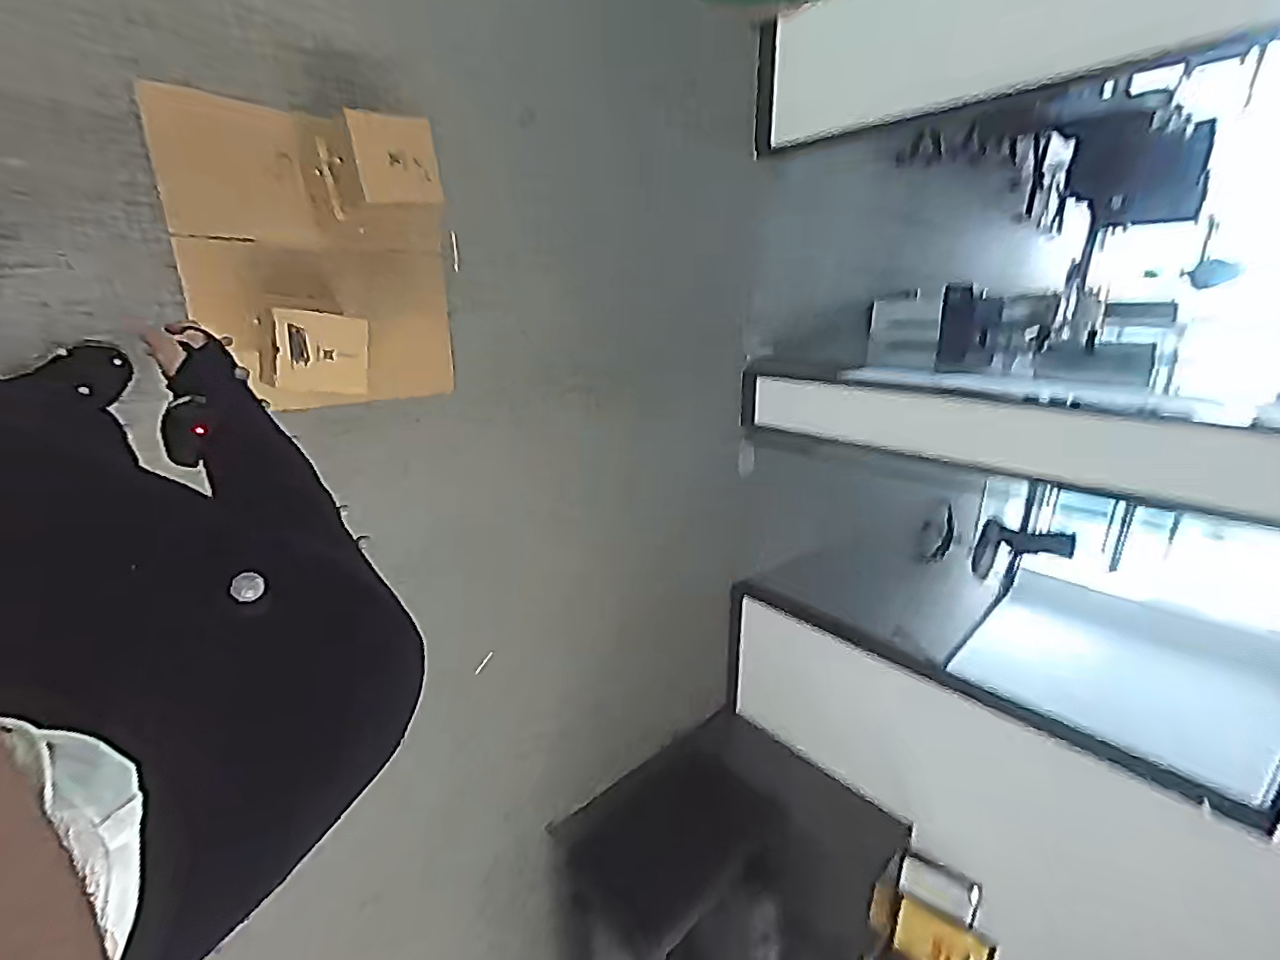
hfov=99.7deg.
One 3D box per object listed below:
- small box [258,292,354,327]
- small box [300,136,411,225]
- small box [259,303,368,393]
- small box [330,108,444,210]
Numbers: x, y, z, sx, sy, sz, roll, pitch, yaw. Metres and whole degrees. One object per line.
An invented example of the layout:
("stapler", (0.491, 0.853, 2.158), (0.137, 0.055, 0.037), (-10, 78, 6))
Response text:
("small box", (-0.806, -0.357, 1.306), (0.179, 0.176, 0.168), (-9, 109, -43))
("small box", (-0.686, -0.714, 1.306), (0.179, 0.176, 0.168), (-22, 119, -38))
("small box", (-0.716, -0.286, 1.182), (0.179, 0.176, 0.168), (-4, 107, -45))
("small box", (-0.563, -0.696, 1.194), (0.179, 0.176, 0.168), (-21, 119, -39))
